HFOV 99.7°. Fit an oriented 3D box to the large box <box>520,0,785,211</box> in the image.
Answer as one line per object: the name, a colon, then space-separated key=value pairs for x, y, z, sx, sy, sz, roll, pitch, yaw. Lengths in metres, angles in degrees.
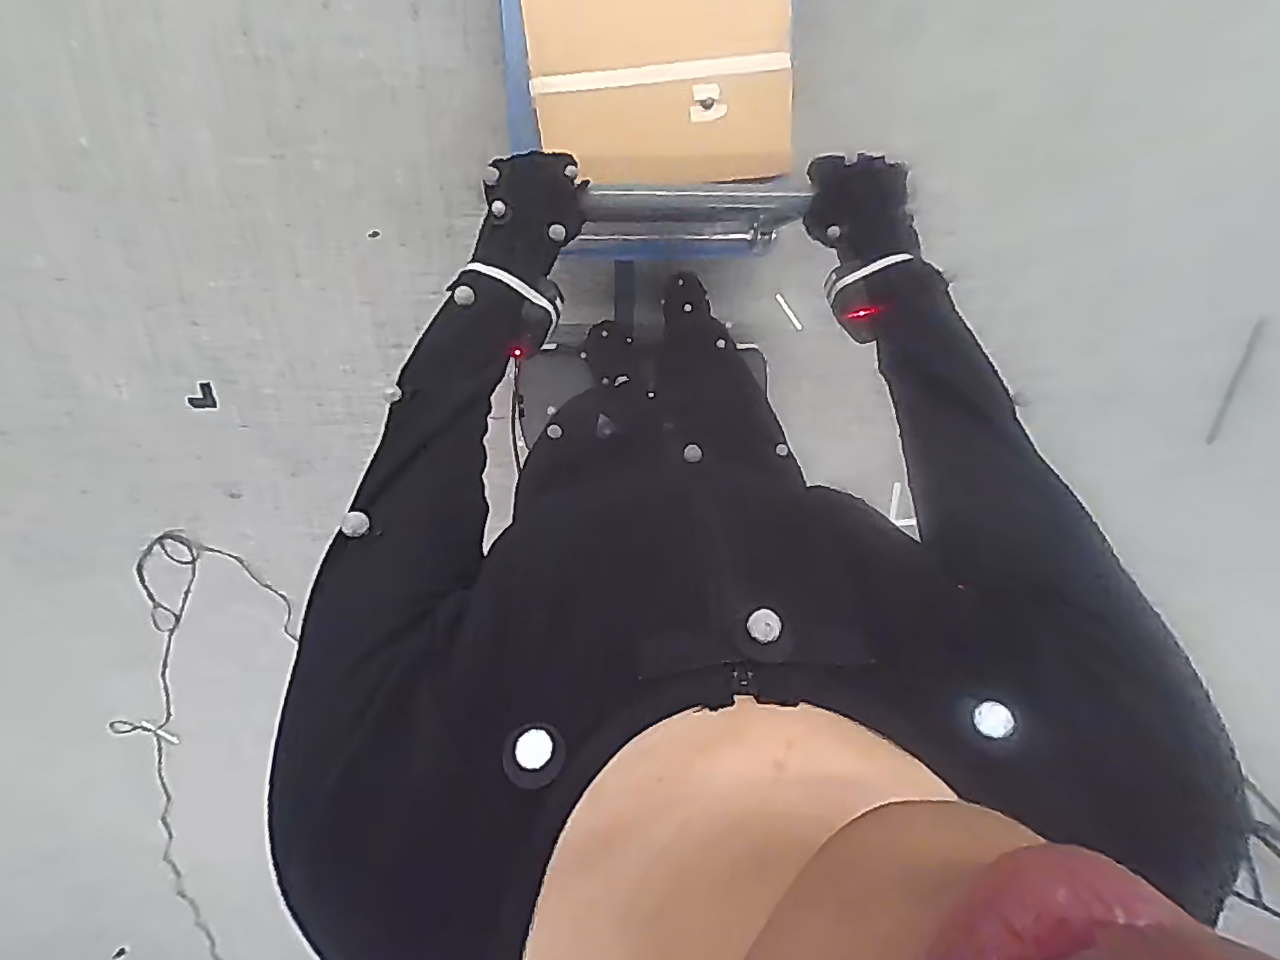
large box: x=0.019 y=-0.696 z=0.988 sx=0.408 sy=0.320 sz=0.320 roll=-7 pitch=113 yaw=-2
